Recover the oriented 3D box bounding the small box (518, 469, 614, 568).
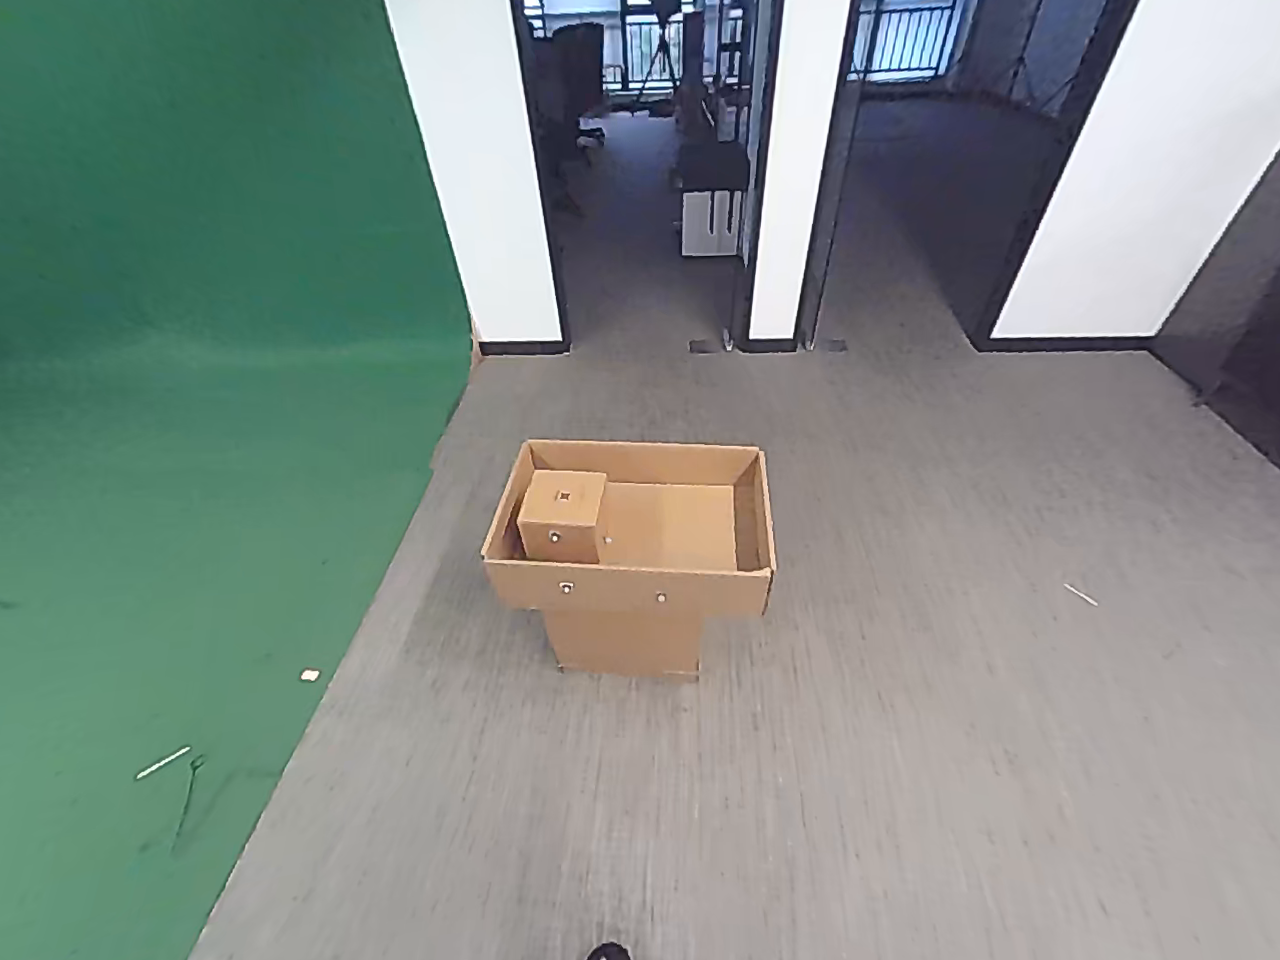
[{"bbox_3d":[-0.165,0.091,1.269,0.179,0.176,0.168,2,45,7],"label":"small box"}]
